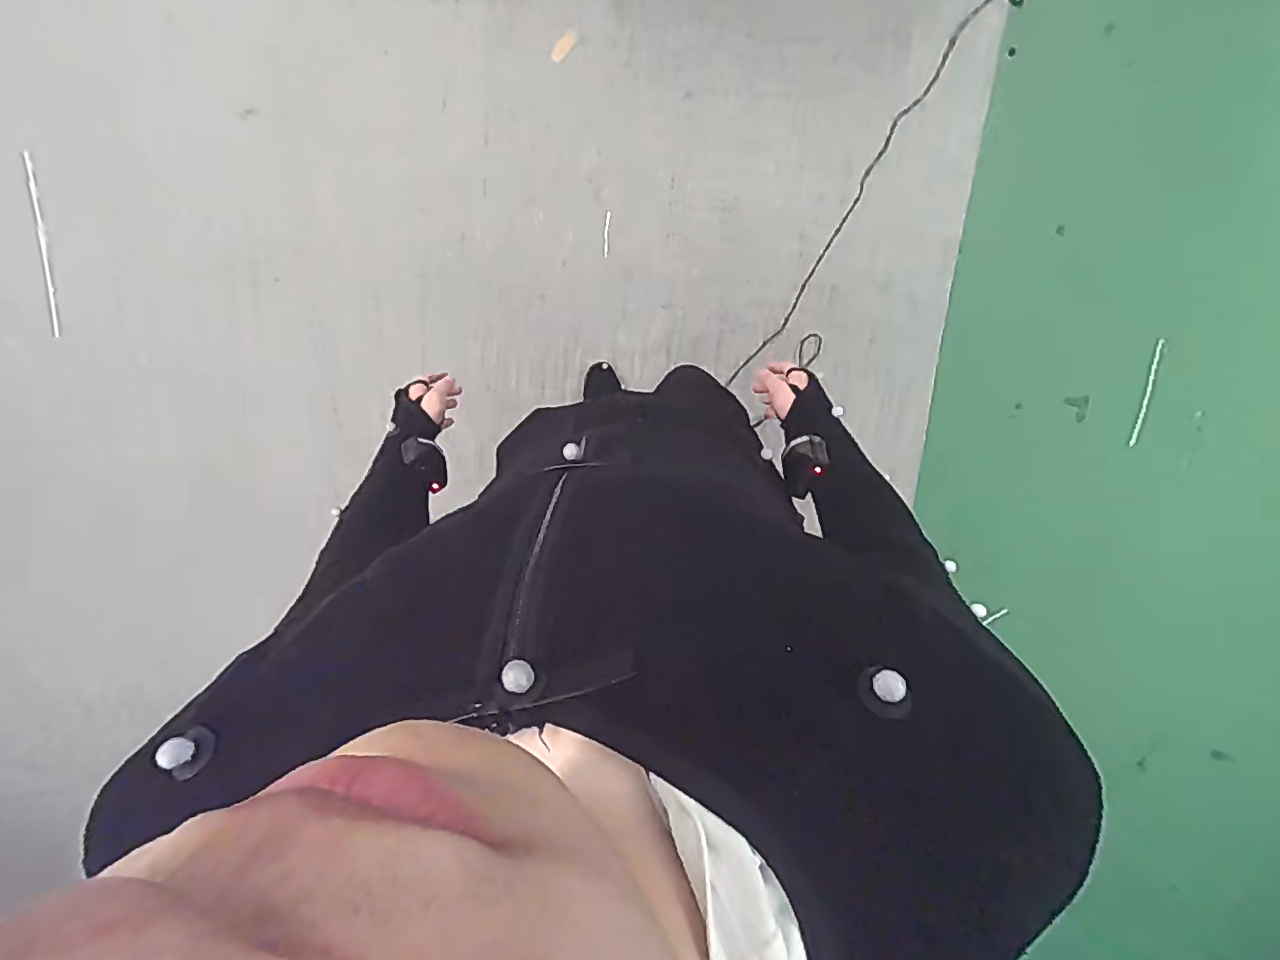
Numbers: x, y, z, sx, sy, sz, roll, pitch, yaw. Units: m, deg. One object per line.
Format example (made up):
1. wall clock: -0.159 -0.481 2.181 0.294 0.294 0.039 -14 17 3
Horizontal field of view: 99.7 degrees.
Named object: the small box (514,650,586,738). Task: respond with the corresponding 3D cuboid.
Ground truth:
1. small box: -0.246 0.590 1.507 0.179 0.176 0.168 4 101 -4
